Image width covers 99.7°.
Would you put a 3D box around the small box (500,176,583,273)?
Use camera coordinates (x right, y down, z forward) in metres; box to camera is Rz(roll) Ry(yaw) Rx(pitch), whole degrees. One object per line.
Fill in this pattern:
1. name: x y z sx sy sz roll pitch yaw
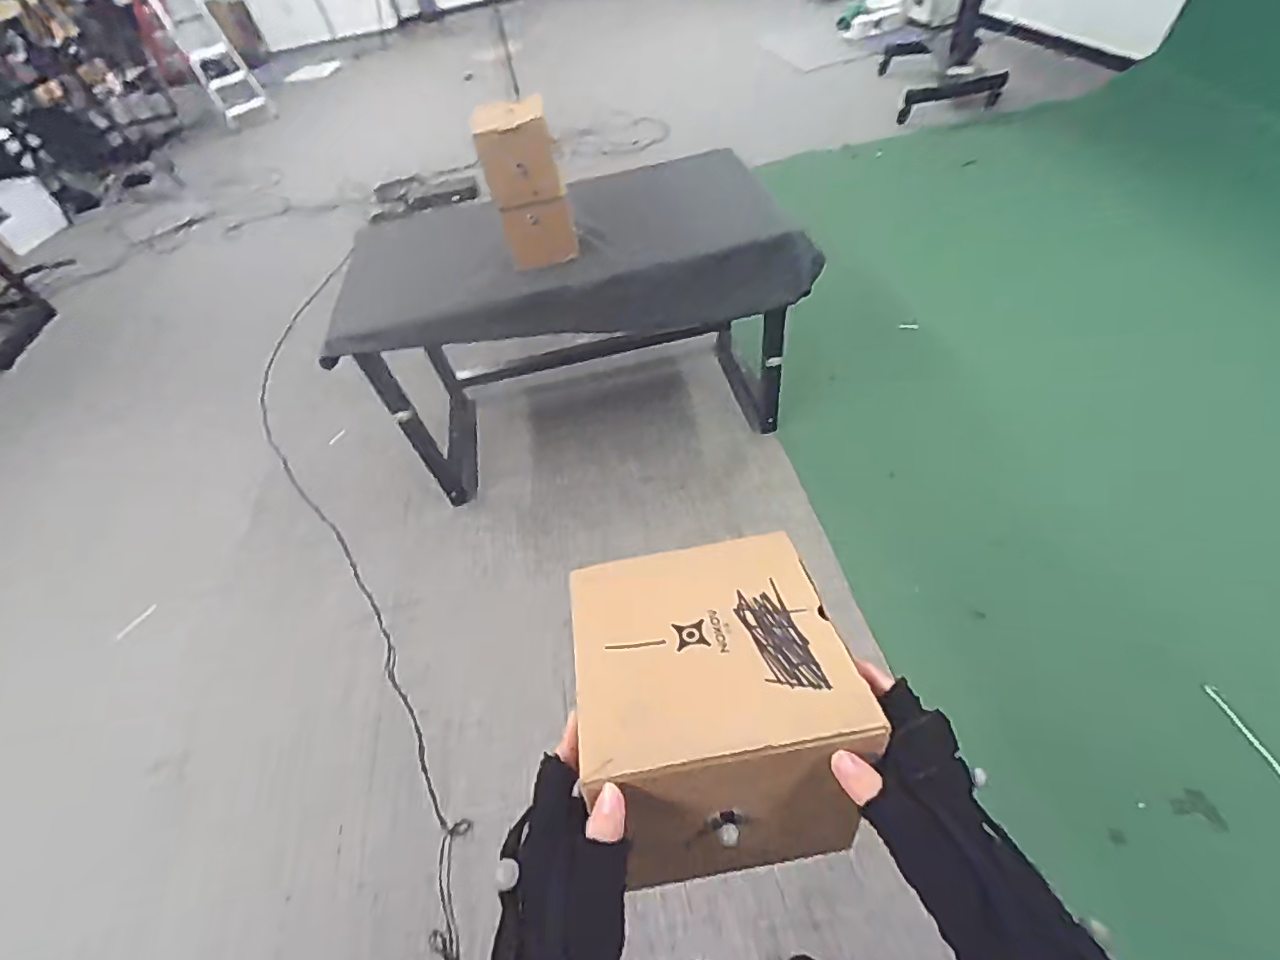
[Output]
1. small box: -0.255 -0.667 1.419 0.179 0.176 0.168 -11 51 -1

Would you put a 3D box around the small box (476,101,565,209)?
1. small box: -0.279 -0.767 1.291 0.168 0.176 0.179 -11 51 0
